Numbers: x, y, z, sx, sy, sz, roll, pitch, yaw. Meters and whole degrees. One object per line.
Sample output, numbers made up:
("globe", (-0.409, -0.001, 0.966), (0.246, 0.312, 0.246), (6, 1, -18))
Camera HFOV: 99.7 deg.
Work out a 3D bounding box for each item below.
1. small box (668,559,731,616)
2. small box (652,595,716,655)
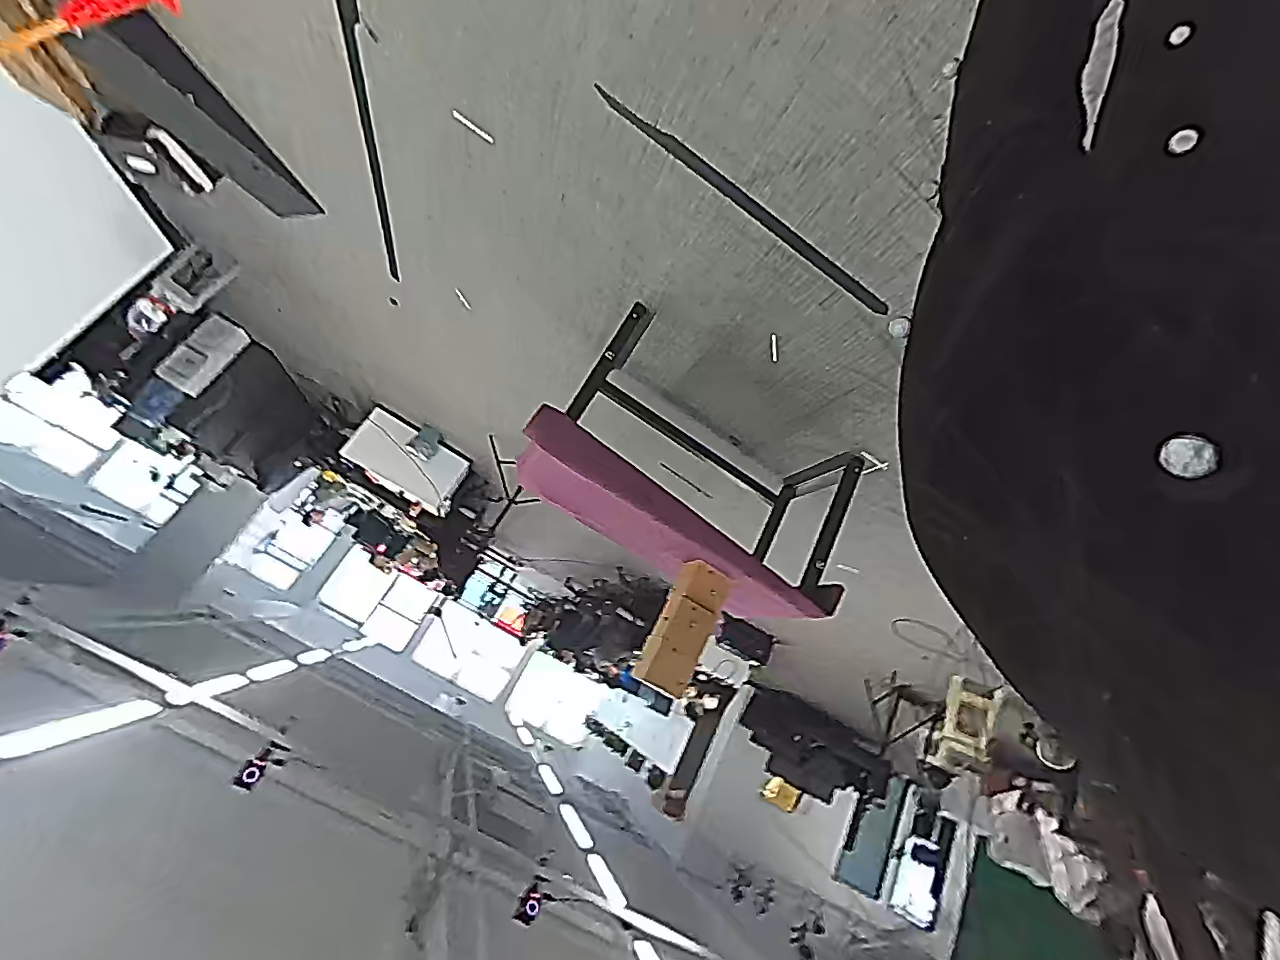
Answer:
("small box", (0.242, 0.427, 2.152), (0.168, 0.176, 0.179), (33, 159, -8))
("small box", (0.170, 0.553, 2.074), (0.168, 0.176, 0.179), (31, 159, -4))
